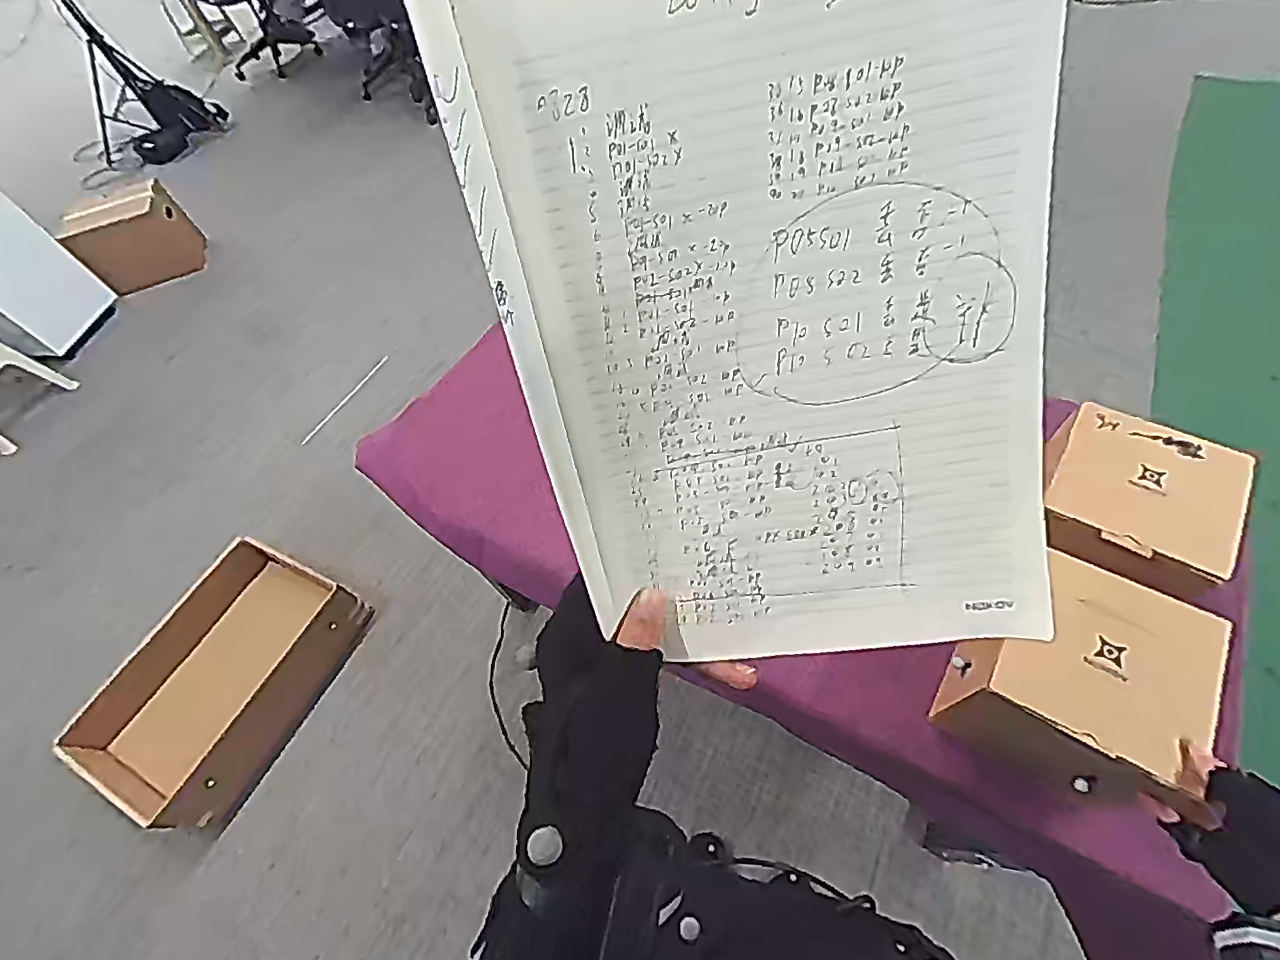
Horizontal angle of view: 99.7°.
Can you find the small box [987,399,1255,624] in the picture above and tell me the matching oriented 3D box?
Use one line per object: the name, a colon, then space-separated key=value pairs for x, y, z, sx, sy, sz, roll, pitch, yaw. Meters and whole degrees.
small box: x=0.551 y=0.044 z=0.645 sx=0.168 sy=0.176 sz=0.179 roll=29 pitch=67 yaw=24
